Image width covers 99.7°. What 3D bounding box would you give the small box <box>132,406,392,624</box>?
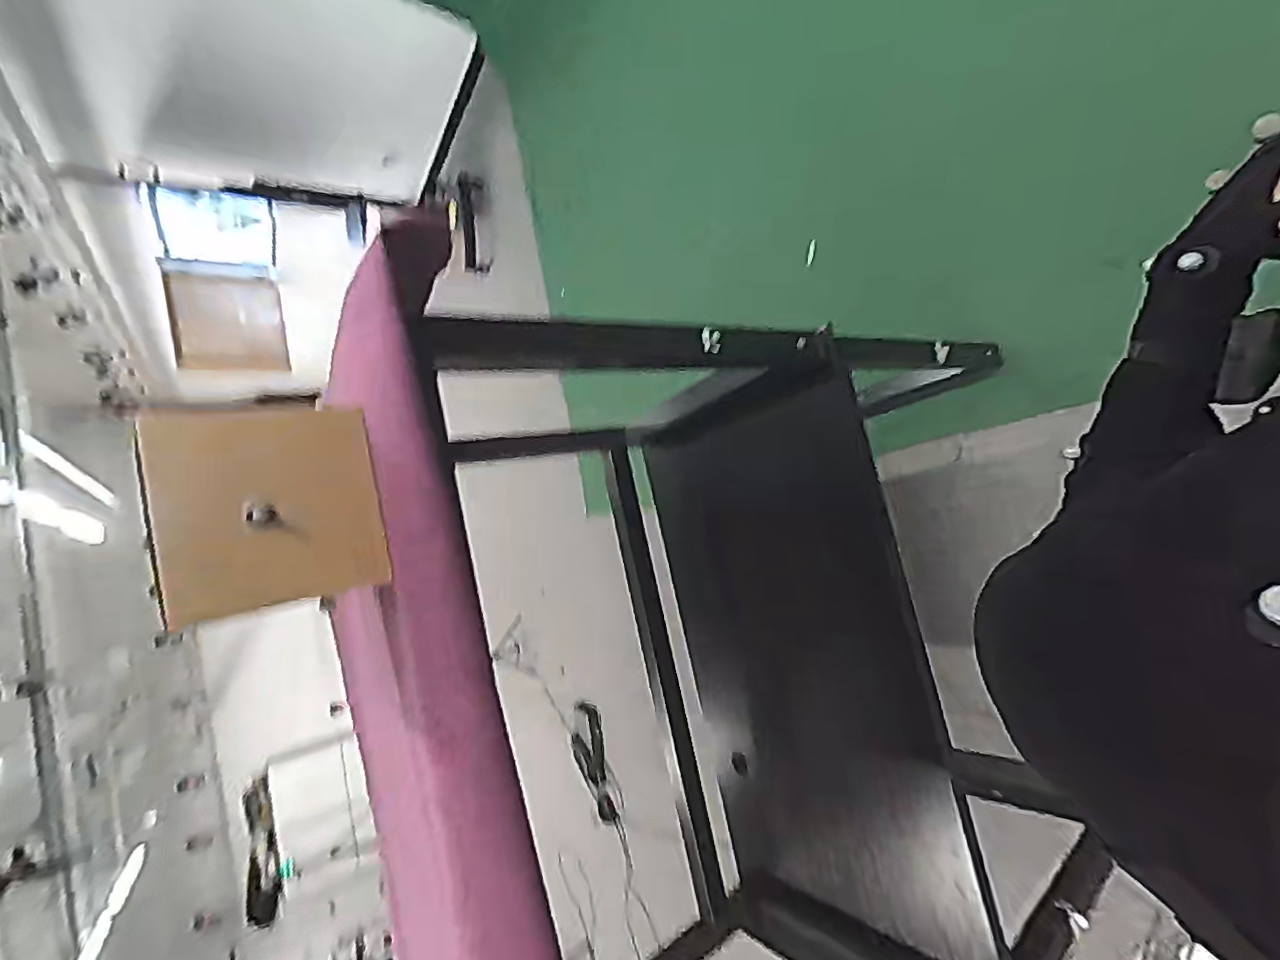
[{"bbox_3d":[-0.361,0.031,0.532,0.168,0.176,0.179,-19,83,54],"label":"small box"}]
